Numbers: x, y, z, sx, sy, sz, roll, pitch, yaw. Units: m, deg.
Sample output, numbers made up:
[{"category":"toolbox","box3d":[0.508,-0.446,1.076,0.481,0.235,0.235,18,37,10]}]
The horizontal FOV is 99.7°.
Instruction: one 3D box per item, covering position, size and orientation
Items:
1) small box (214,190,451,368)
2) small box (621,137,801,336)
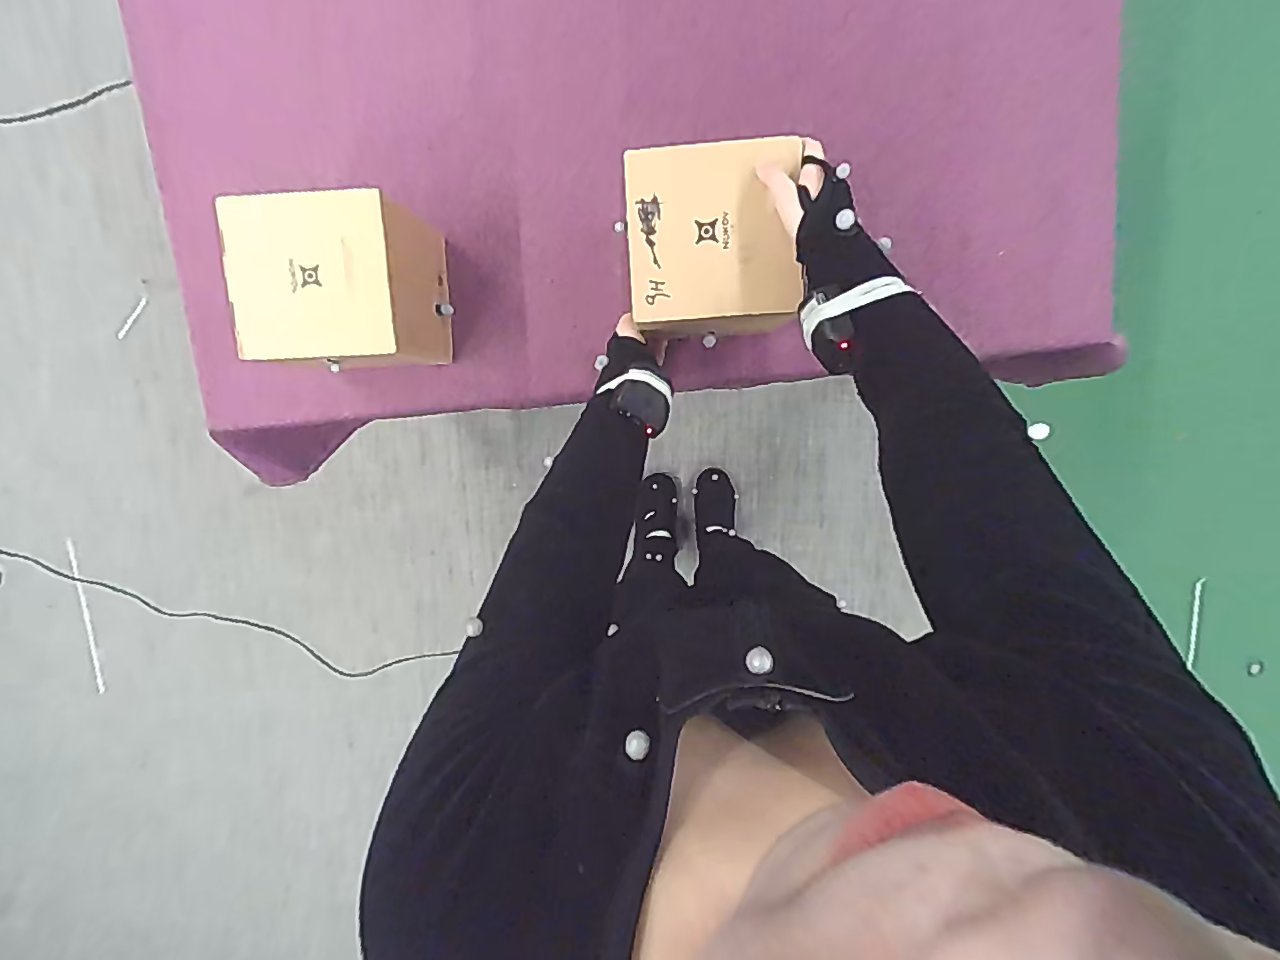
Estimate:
[{"category":"small box","box3d":[-0.345,-0.223,0.640,0.179,0.176,0.168,-2,99,2]},{"category":"small box","box3d":[0.073,-0.260,0.616,0.179,0.176,0.168,-3,98,3]}]
